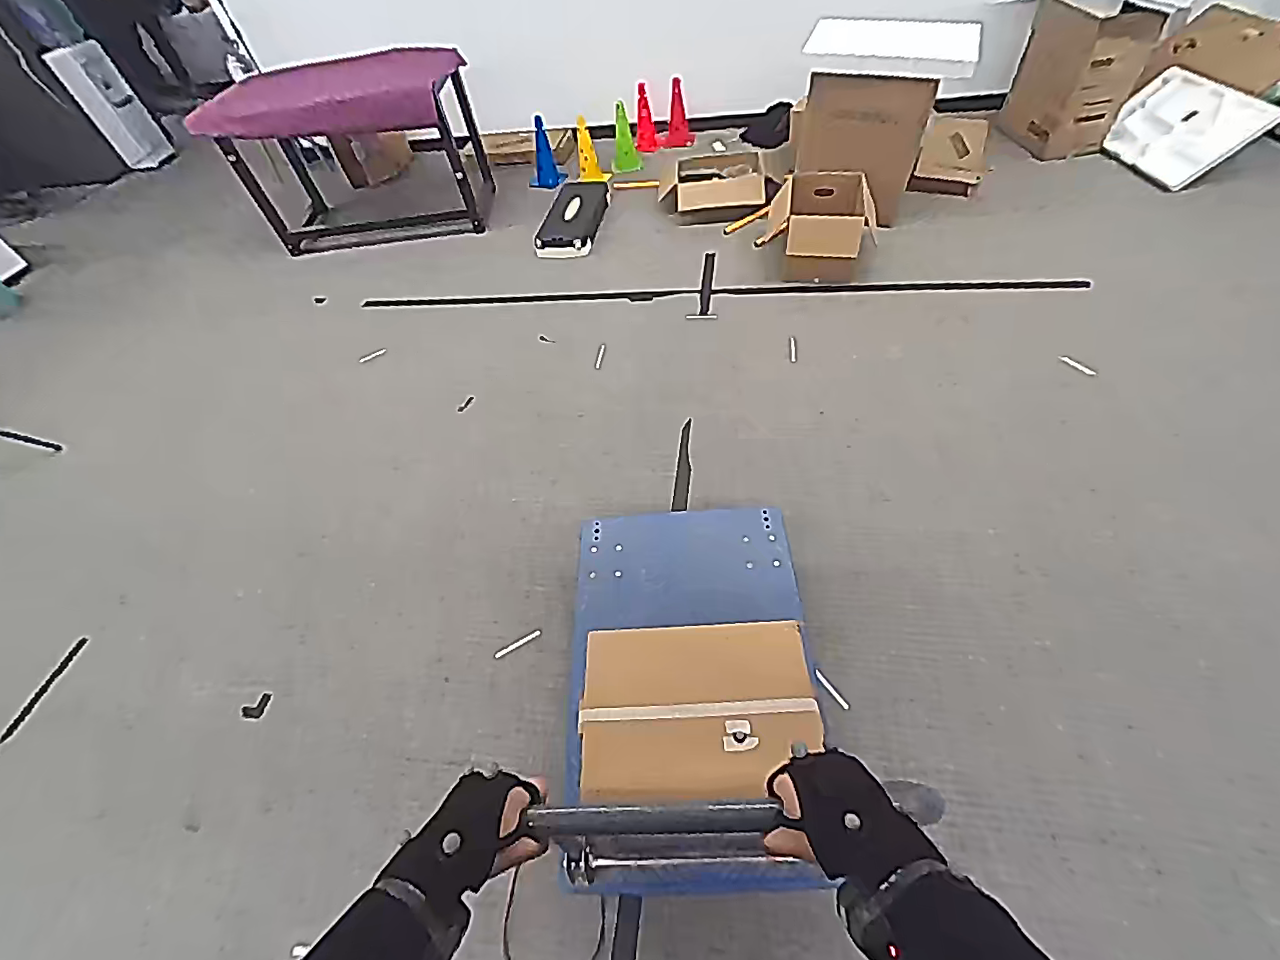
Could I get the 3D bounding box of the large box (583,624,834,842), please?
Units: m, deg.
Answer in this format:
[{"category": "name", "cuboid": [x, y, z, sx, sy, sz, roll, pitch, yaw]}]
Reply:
[{"category": "large box", "cuboid": [0.113, 0.498, 1.052, 0.408, 0.320, 0.320, -4, 52, 4]}]
